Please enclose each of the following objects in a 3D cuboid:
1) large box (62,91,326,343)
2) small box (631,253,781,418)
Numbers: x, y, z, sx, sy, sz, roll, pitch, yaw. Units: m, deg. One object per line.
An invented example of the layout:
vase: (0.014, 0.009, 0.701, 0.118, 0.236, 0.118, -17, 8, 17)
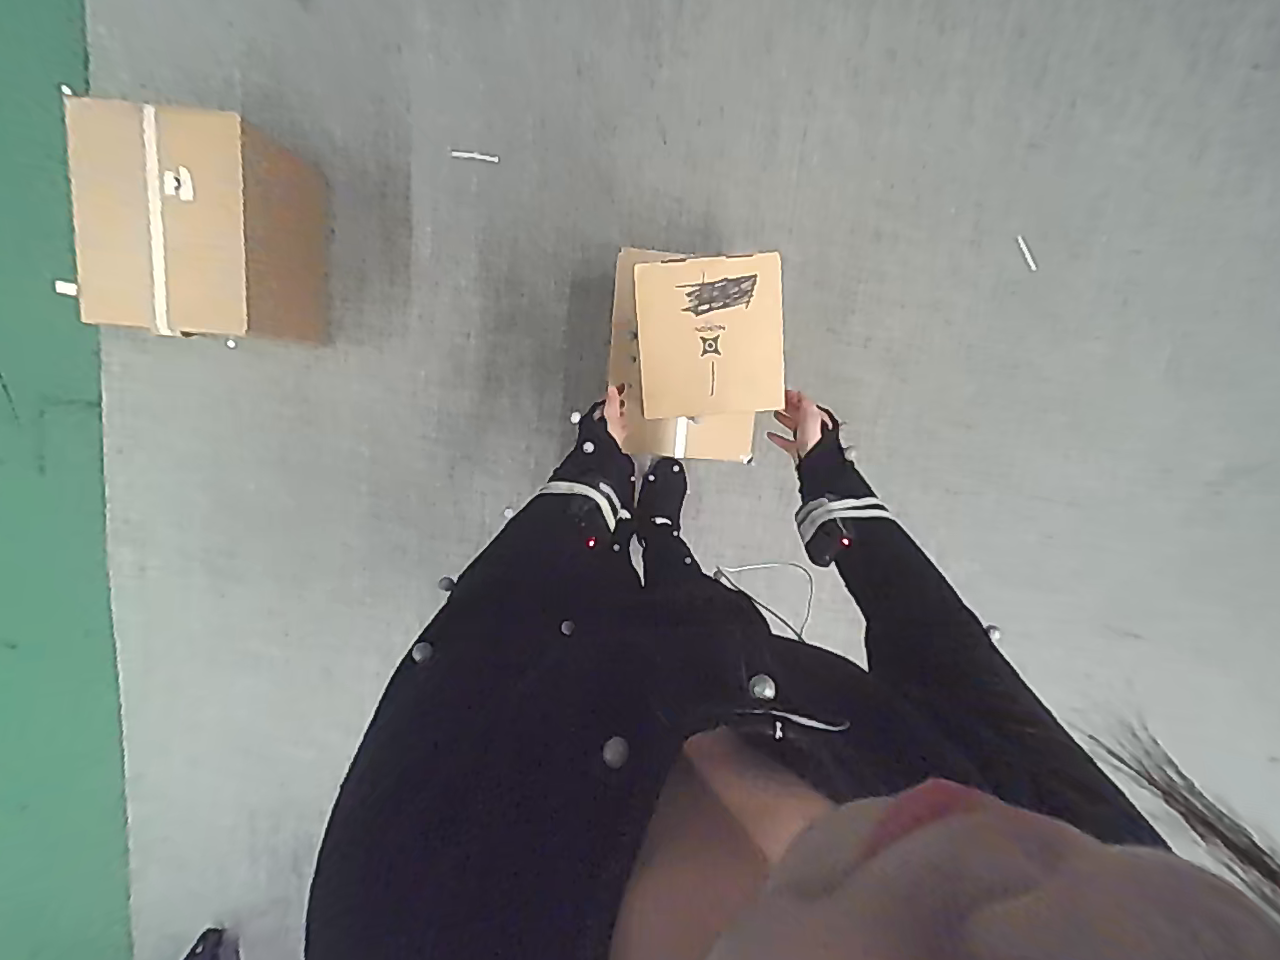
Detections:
large box: (-0.910, -0.519, 1.158, 0.320, 0.320, 0.408, 5, 99, -3)
small box: (0.075, -0.174, 0.686, 0.168, 0.176, 0.179, -4, 101, 0)
